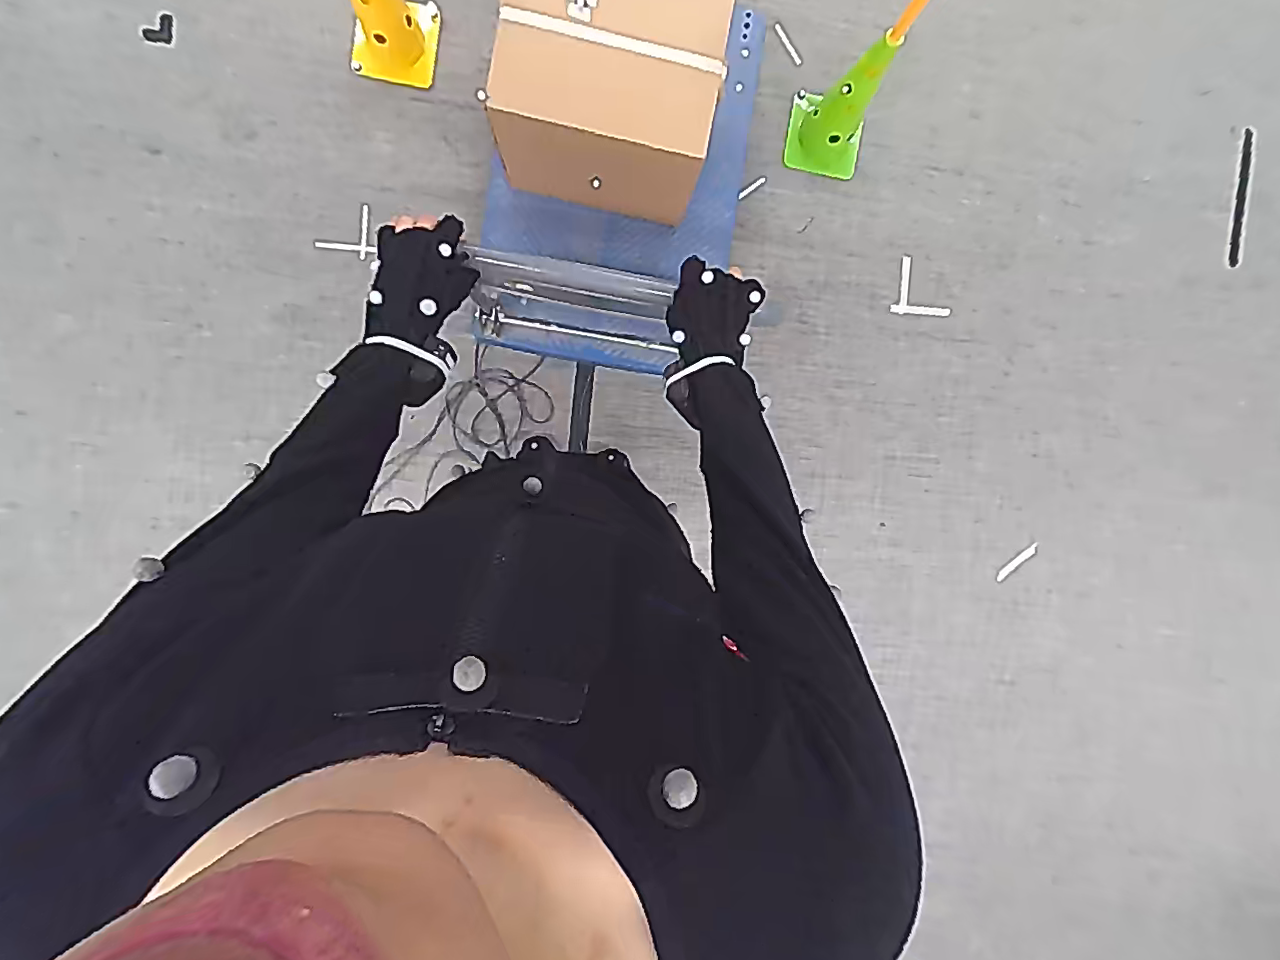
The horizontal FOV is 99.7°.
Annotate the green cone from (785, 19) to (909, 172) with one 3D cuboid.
[{"bbox_3d":[0.517,-0.941,1.294,0.202,0.368,0.200,9,93,-6],"label":"green cone"}]

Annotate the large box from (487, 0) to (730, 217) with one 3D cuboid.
[{"bbox_3d":[-0.060,-0.790,1.117,0.408,0.320,0.320,11,93,-4],"label":"large box"}]
